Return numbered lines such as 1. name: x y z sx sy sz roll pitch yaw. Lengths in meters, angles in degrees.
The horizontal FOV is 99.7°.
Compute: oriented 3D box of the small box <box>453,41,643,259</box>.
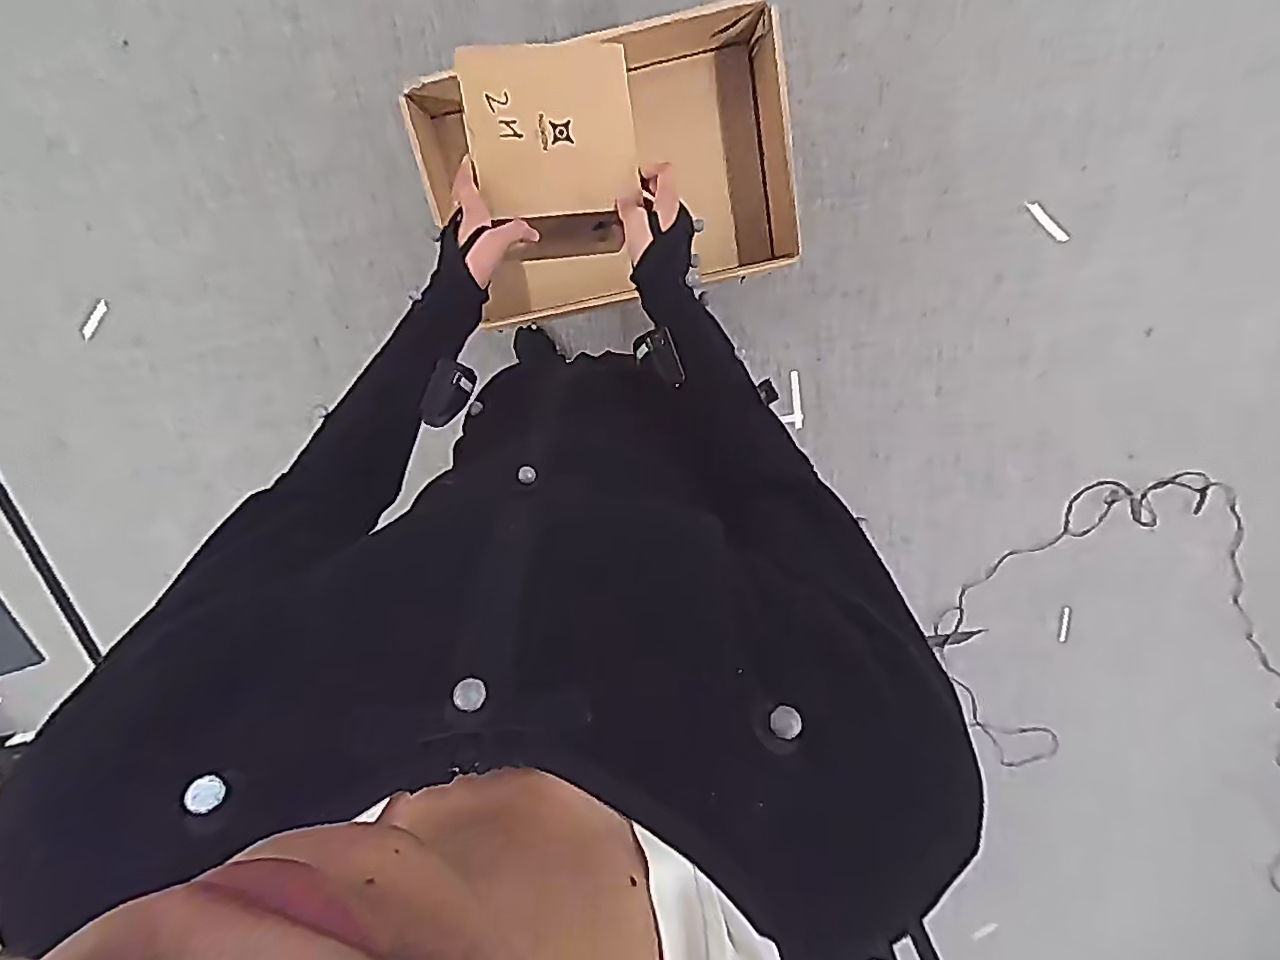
1. small box: -0.106 -0.370 0.634 0.179 0.176 0.168 -10 99 -10
